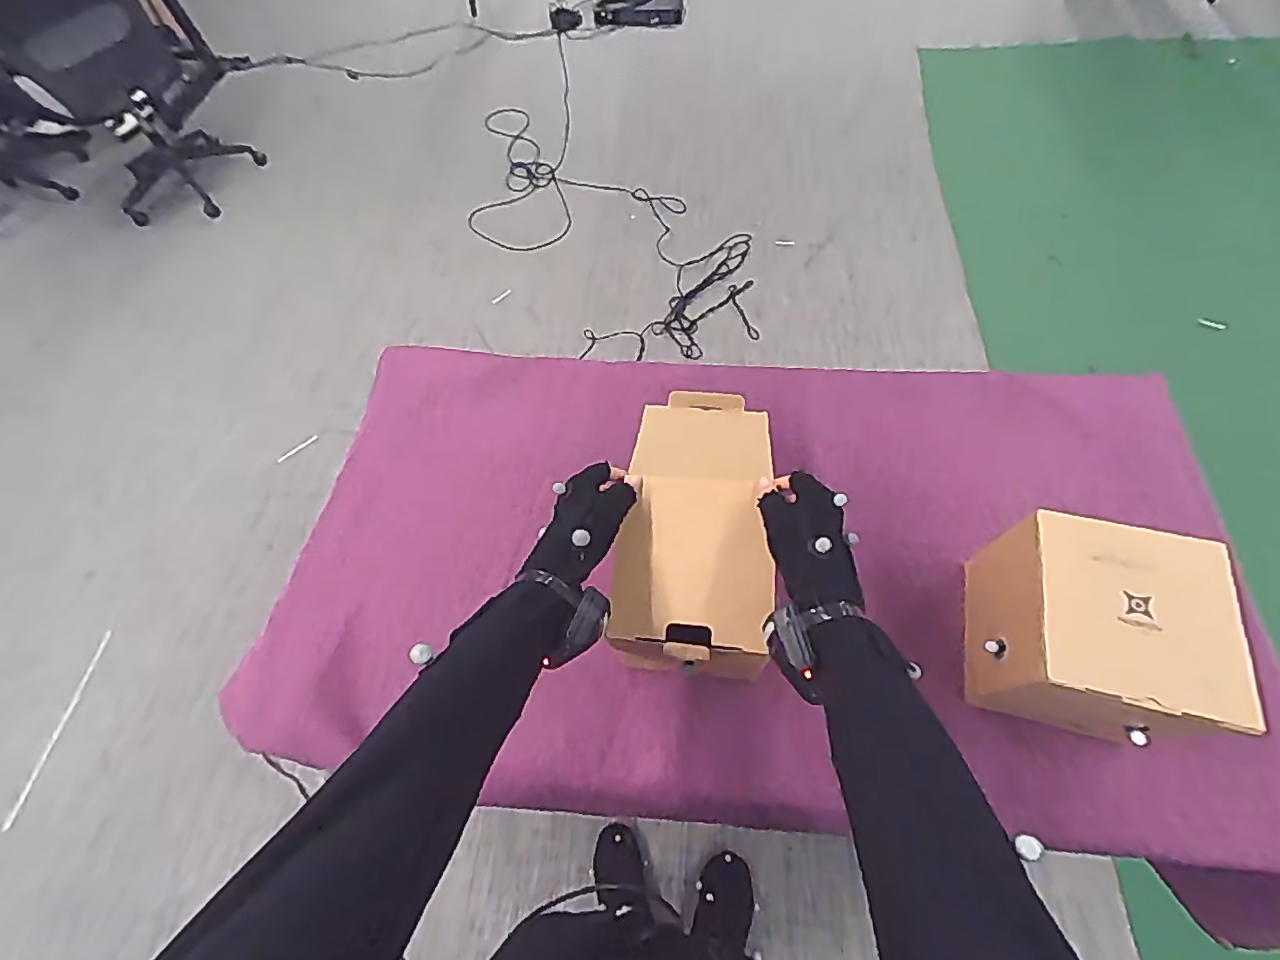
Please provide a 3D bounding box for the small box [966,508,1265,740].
[{"bbox_3d":[0.464,0.157,0.564,0.168,0.176,0.179,12,63,12],"label":"small box"}]
